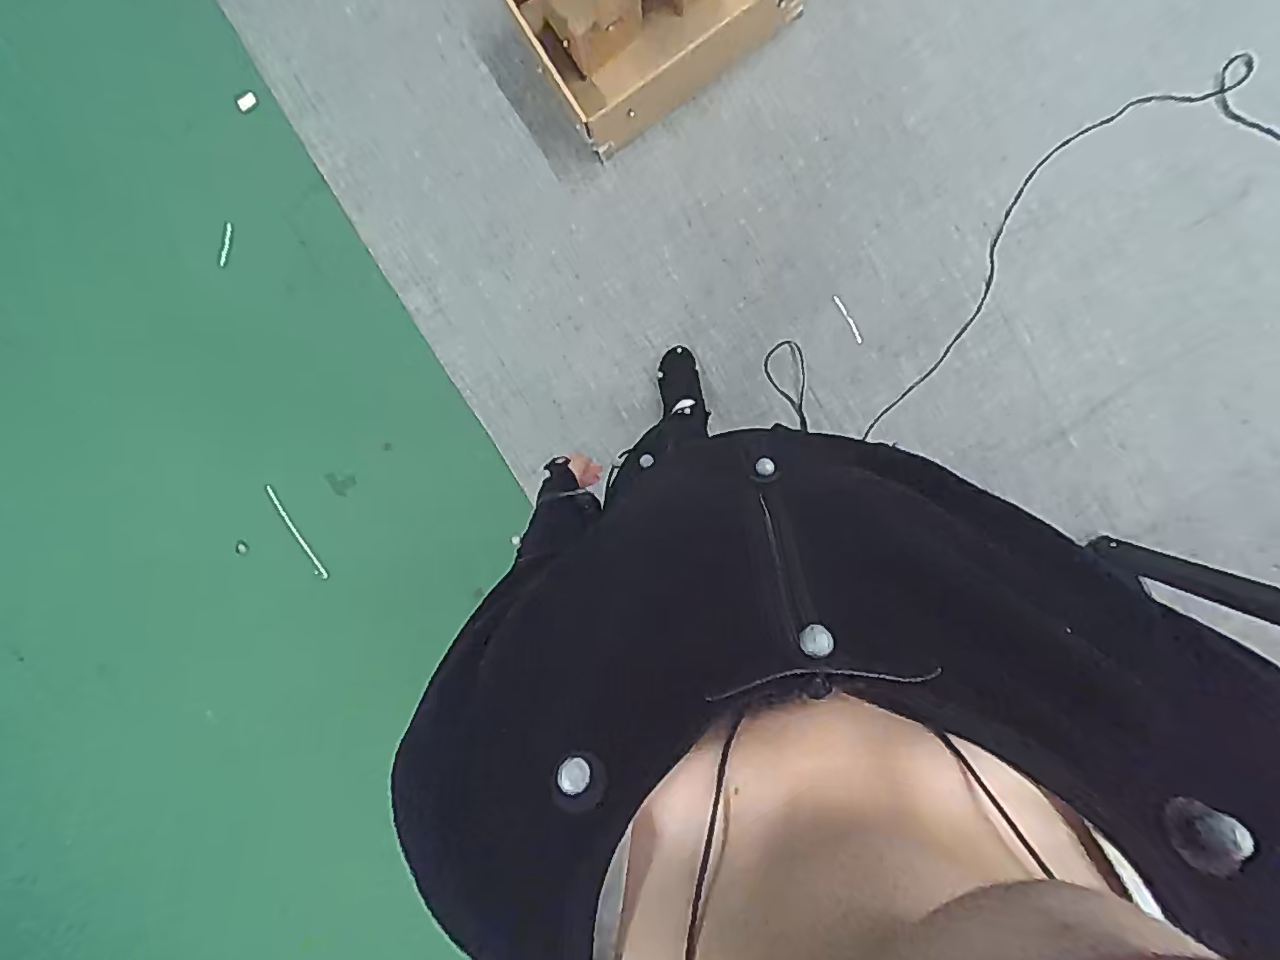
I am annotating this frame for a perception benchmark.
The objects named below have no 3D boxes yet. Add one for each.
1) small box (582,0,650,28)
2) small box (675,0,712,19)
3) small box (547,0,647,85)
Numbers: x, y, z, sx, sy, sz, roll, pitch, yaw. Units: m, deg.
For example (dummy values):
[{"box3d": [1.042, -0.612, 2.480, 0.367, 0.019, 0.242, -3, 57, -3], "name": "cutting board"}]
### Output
[{"box3d": [-0.056, -1.065, 1.082, 0.168, 0.176, 0.179, -38, 95, 6], "name": "small box"}, {"box3d": [0.129, -1.208, 1.211, 0.179, 0.176, 0.168, -39, 94, 9], "name": "small box"}, {"box3d": [-0.096, -1.075, 1.247, 0.179, 0.176, 0.168, -36, 95, 6], "name": "small box"}]
